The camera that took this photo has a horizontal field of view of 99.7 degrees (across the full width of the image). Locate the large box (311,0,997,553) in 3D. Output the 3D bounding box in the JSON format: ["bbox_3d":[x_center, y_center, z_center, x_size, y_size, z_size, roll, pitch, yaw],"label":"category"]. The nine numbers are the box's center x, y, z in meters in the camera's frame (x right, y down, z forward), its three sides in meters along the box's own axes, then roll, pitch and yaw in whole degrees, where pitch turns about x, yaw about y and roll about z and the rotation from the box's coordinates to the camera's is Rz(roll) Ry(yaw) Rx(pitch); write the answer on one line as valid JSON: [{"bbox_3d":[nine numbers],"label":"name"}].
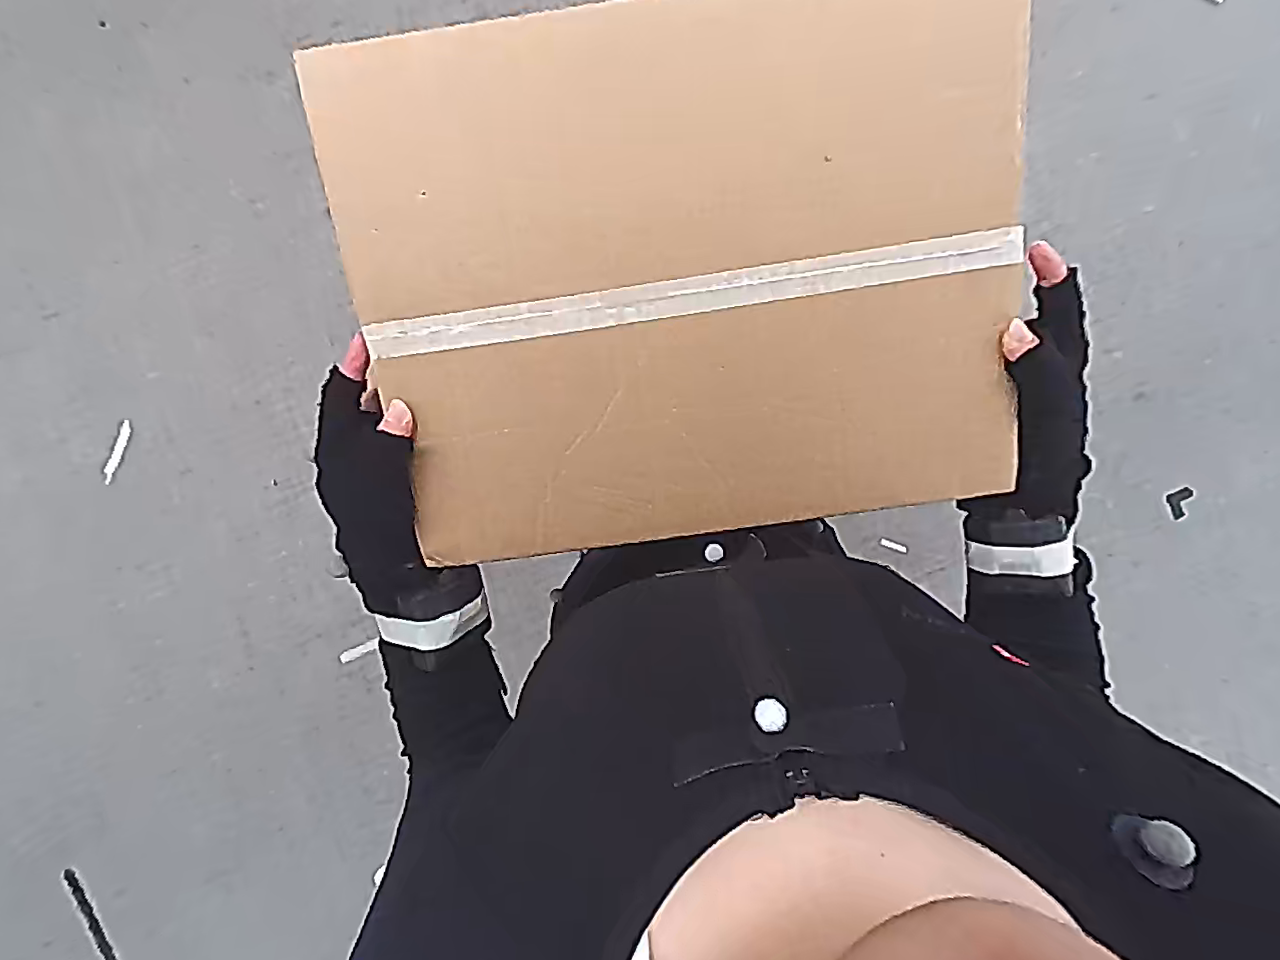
[{"bbox_3d":[0.024,-0.160,0.488,0.408,0.320,0.320,-8,104,1],"label":"large box"}]
